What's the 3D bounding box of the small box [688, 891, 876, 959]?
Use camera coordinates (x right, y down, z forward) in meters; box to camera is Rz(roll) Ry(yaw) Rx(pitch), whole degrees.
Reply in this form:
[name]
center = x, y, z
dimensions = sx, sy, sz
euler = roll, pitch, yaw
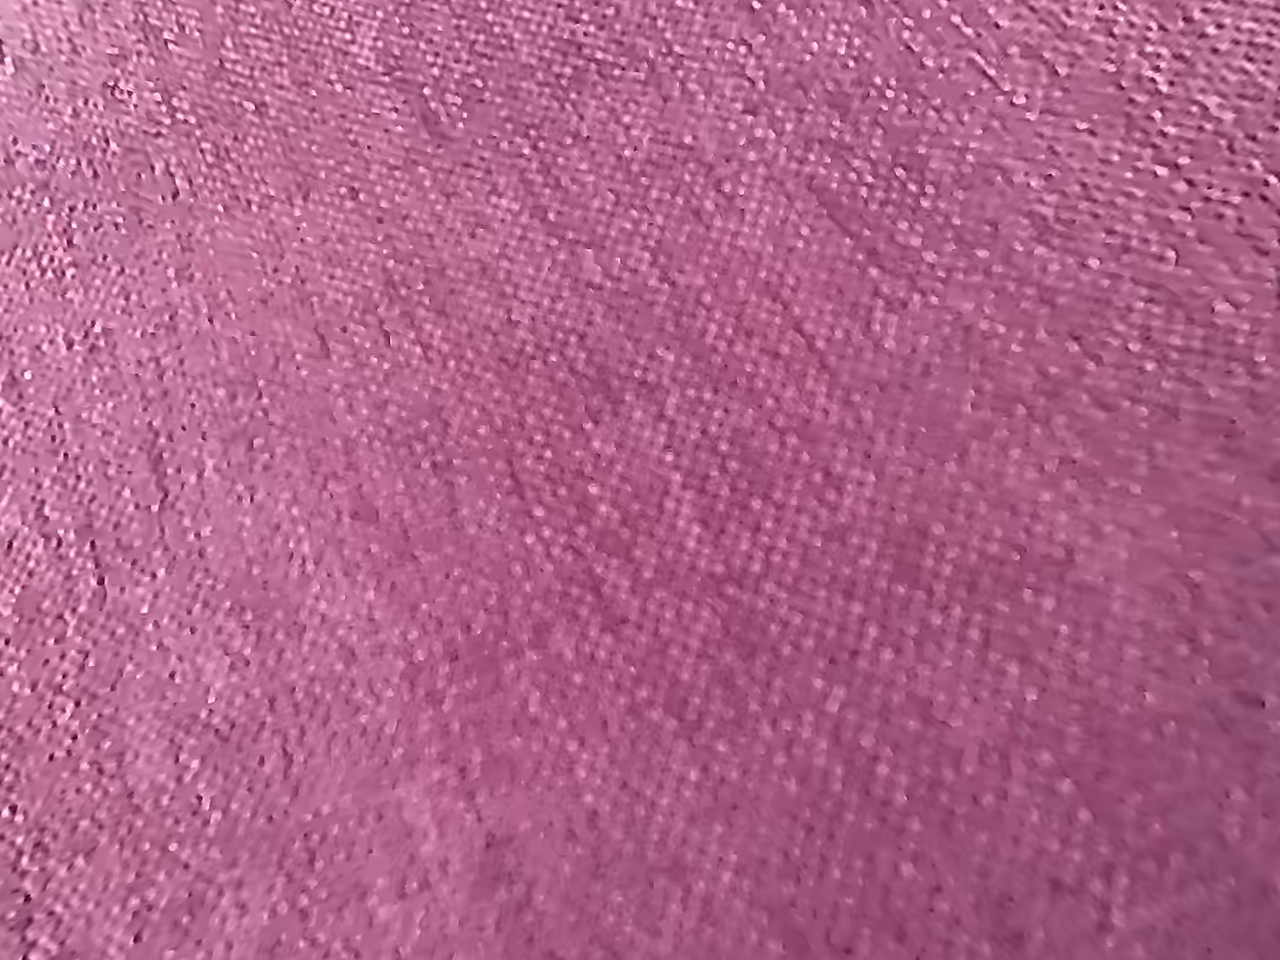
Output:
[small box]
center = 0.143, 0.529, 0.511
dimensions = 0.179, 0.168, 0.176
euler = -12, 77, 4
